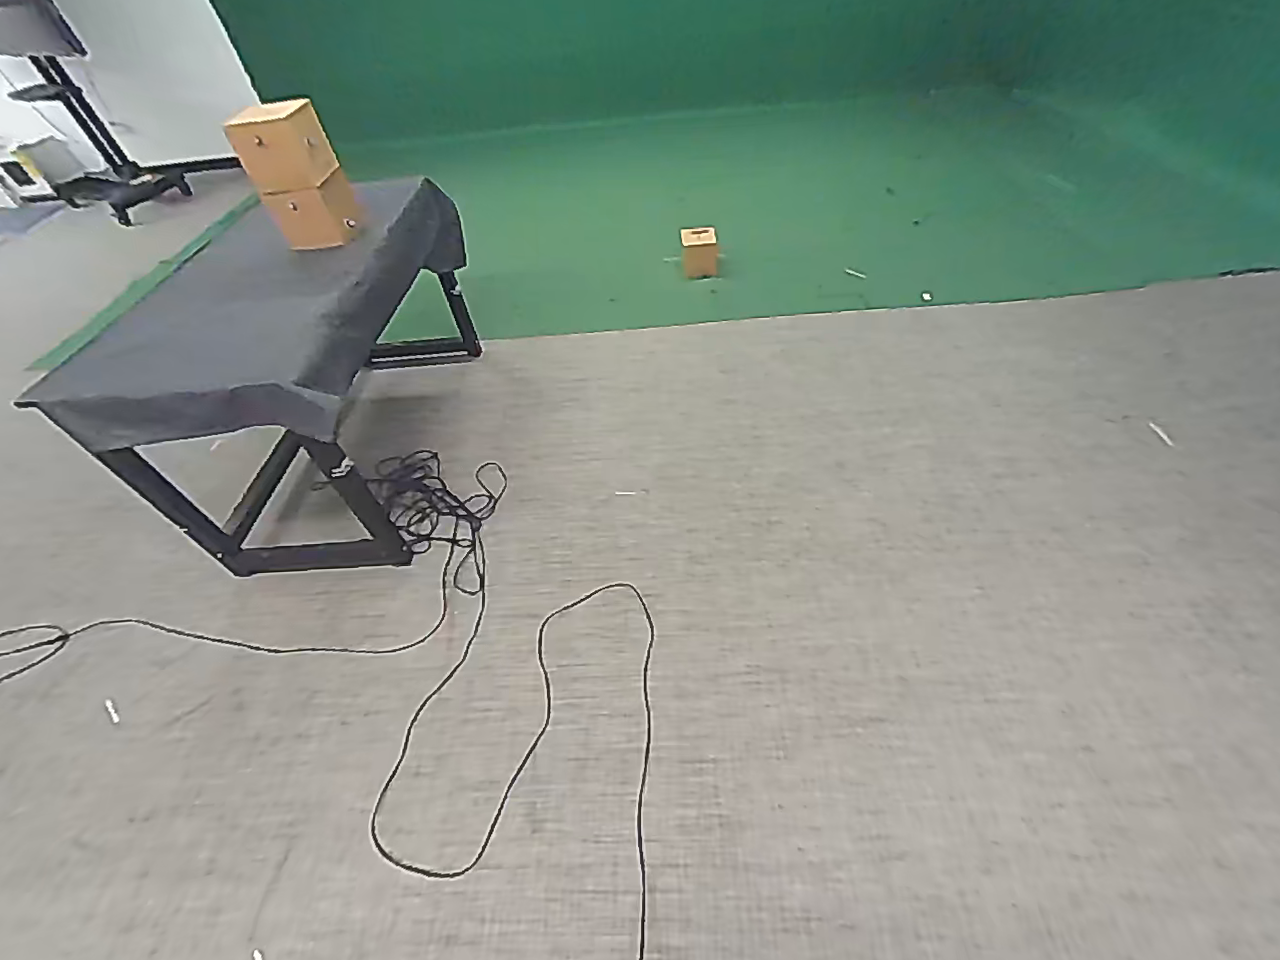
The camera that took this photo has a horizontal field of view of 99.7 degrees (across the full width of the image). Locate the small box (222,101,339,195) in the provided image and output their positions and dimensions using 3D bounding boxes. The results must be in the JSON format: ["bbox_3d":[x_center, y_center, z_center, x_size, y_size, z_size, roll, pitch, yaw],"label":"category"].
[{"bbox_3d":[-0.964,-0.900,1.472,0.179,0.176,0.168,-5,49,5],"label":"small box"}]

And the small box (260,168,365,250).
[{"bbox_3d":[-0.956,-0.795,1.596,0.179,0.176,0.168,-3,49,4],"label":"small box"}]
